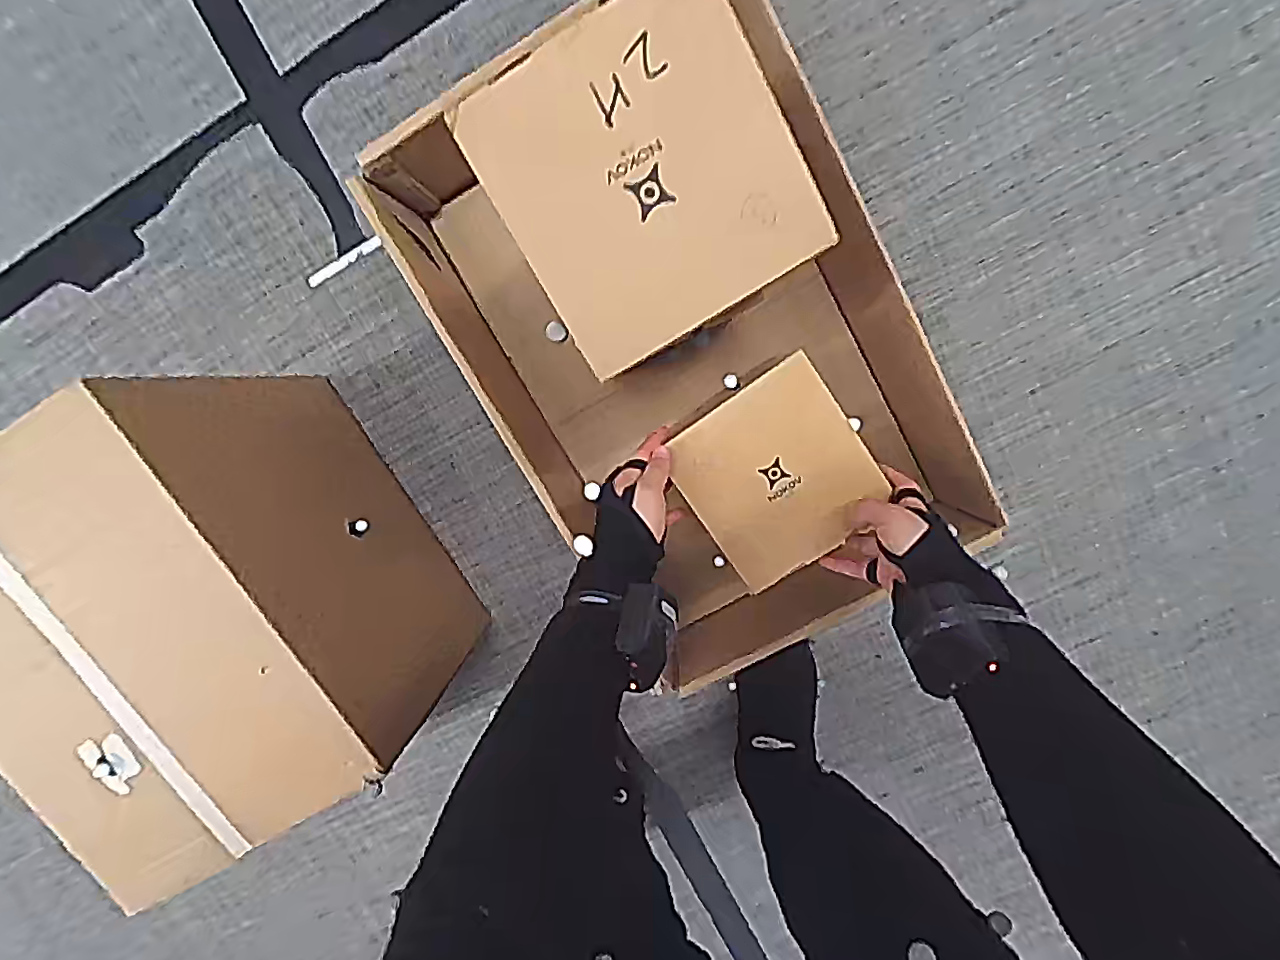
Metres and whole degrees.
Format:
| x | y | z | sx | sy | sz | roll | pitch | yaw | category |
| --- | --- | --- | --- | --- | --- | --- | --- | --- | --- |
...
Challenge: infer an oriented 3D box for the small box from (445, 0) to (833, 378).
| x | y | z | sx | sy | sz | roll | pitch | yaw | category |
| --- | --- | --- | --- | --- | --- | --- | --- | --- | --- |
| 0.003 | -0.190 | 0.385 | 0.168 | 0.176 | 0.179 | -29 | 100 | 6 | small box |

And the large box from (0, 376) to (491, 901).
| x | y | z | sx | sy | sz | roll | pitch | yaw | category |
| --- | --- | --- | --- | --- | --- | --- | --- | --- | --- |
| -0.443 | 0.132 | 0.613 | 0.320 | 0.320 | 0.408 | -31 | 99 | 9 | large box |
